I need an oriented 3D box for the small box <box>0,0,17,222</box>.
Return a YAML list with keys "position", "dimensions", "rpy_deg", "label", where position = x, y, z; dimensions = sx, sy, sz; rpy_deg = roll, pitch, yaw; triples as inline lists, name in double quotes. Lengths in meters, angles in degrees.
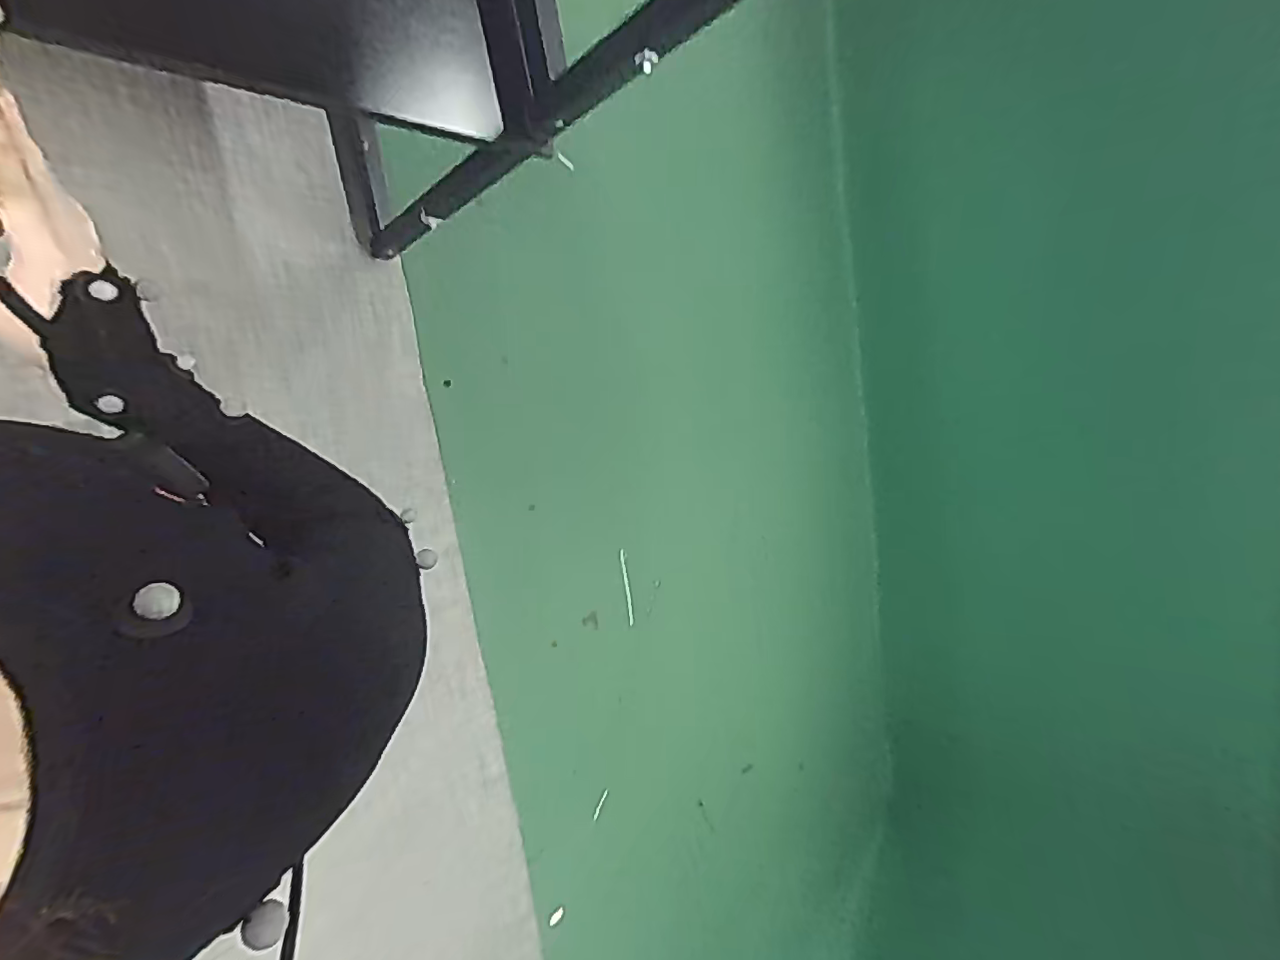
- position: [-0.393, -0.240, 0.218]
  dimensions: [0.168, 0.176, 0.179]
  rpy_deg: [-2, 87, -41]
  label: "small box"
